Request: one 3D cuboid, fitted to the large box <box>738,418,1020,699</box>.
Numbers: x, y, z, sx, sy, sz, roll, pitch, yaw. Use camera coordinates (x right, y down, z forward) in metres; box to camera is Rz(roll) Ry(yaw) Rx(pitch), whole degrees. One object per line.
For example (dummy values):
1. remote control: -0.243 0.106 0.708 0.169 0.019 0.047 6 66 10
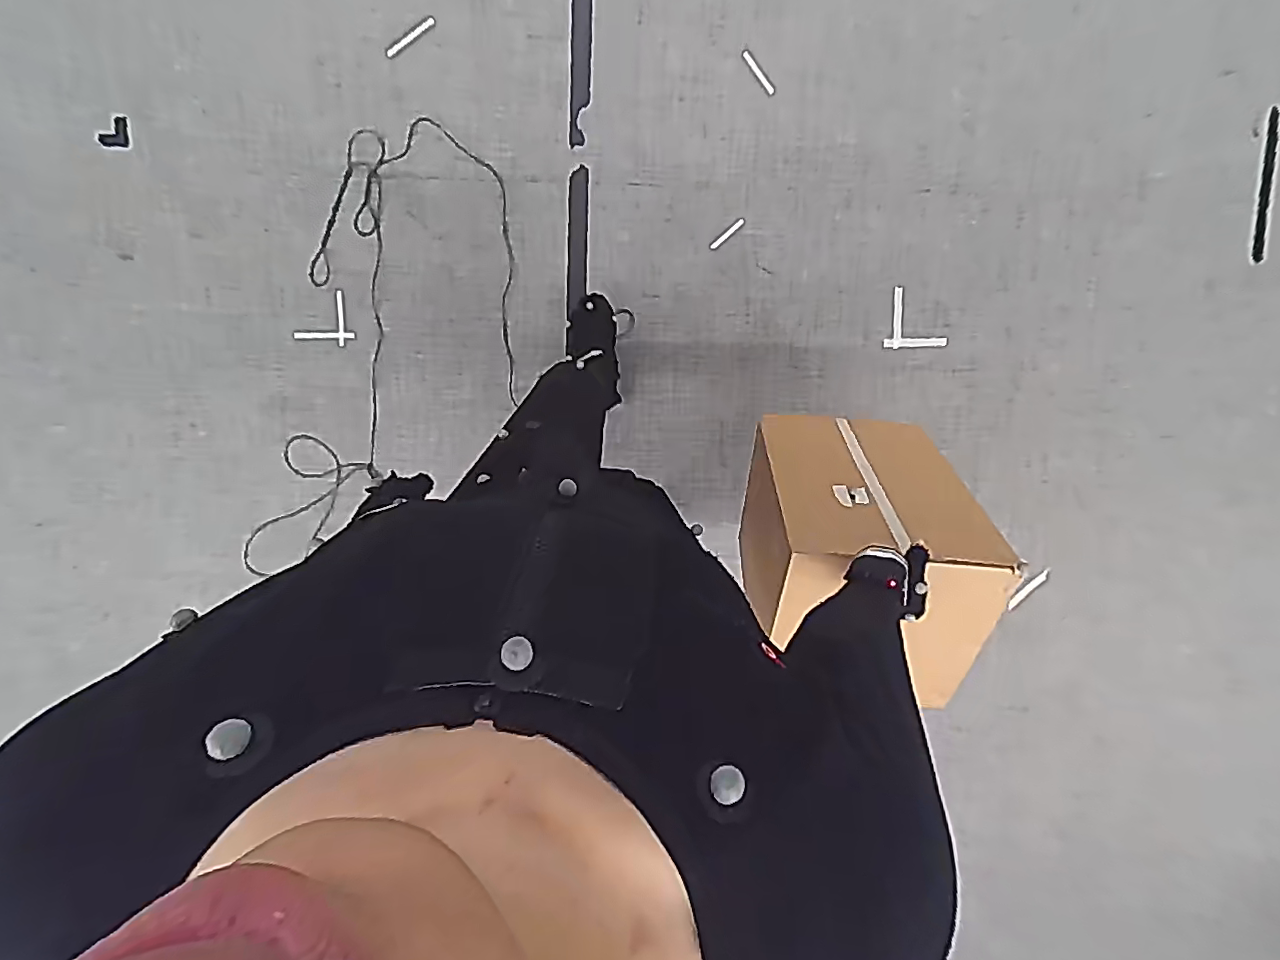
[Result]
1. large box: 0.372 0.124 0.987 0.320 0.408 0.320 3 126 2
